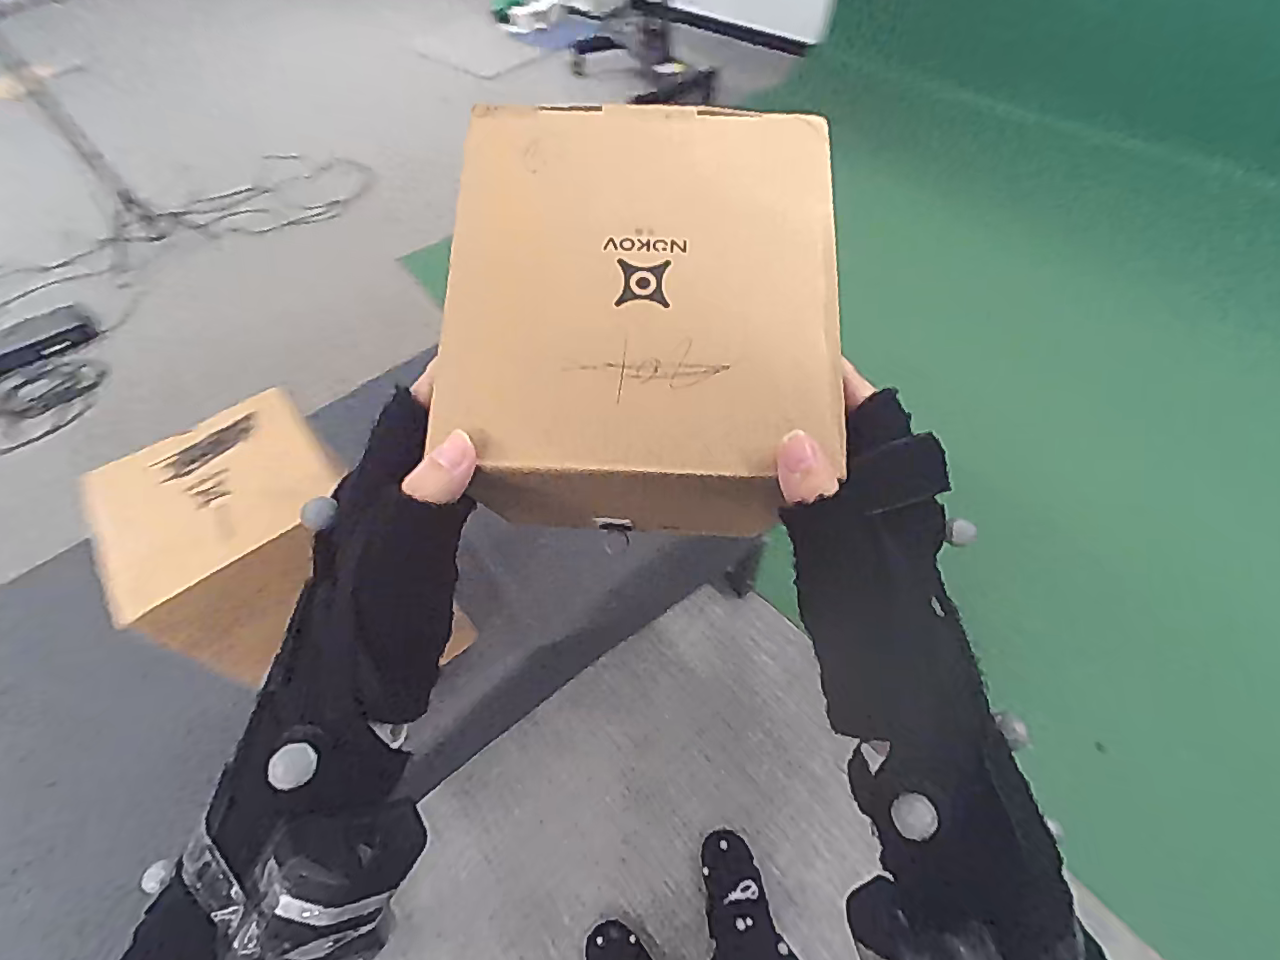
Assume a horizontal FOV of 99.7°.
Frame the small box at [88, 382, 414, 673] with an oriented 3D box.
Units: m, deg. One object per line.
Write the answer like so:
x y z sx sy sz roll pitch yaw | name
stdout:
-0.347 0.047 0.509 0.168 0.176 0.179 -34 60 -20 | small box

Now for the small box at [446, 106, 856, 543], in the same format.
0.010 -0.066 0.310 0.168 0.176 0.179 4 77 1 | small box

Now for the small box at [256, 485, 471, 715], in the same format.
-0.333 0.146 0.640 0.179 0.176 0.168 -35 60 -20 | small box
